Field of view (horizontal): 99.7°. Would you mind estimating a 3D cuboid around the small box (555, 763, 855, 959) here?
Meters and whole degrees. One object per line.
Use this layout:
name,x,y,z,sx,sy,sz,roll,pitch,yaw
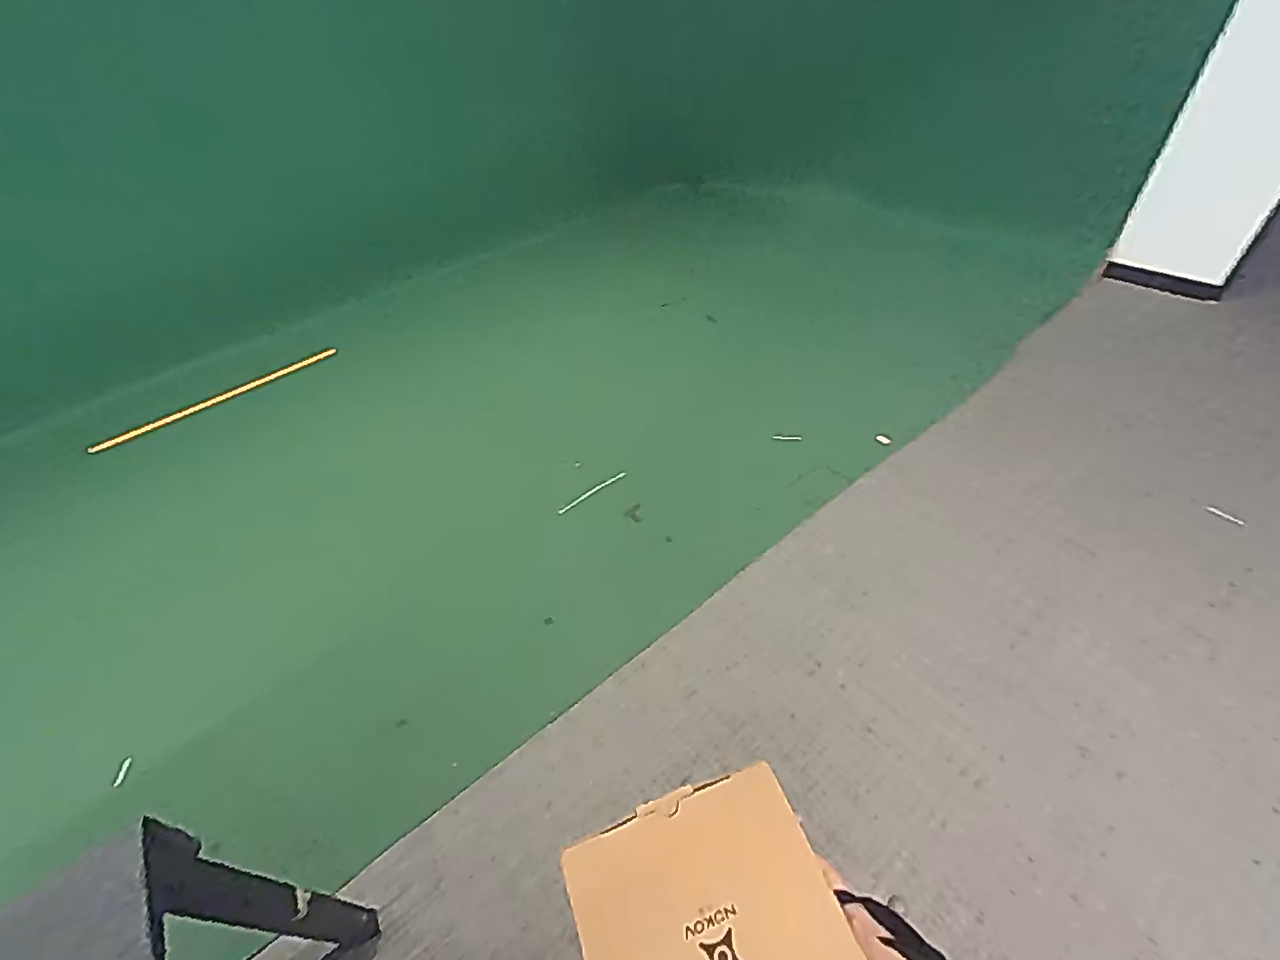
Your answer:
small box,0.049,0.350,0.397,0.168,0.176,0.179,-17,46,-12
